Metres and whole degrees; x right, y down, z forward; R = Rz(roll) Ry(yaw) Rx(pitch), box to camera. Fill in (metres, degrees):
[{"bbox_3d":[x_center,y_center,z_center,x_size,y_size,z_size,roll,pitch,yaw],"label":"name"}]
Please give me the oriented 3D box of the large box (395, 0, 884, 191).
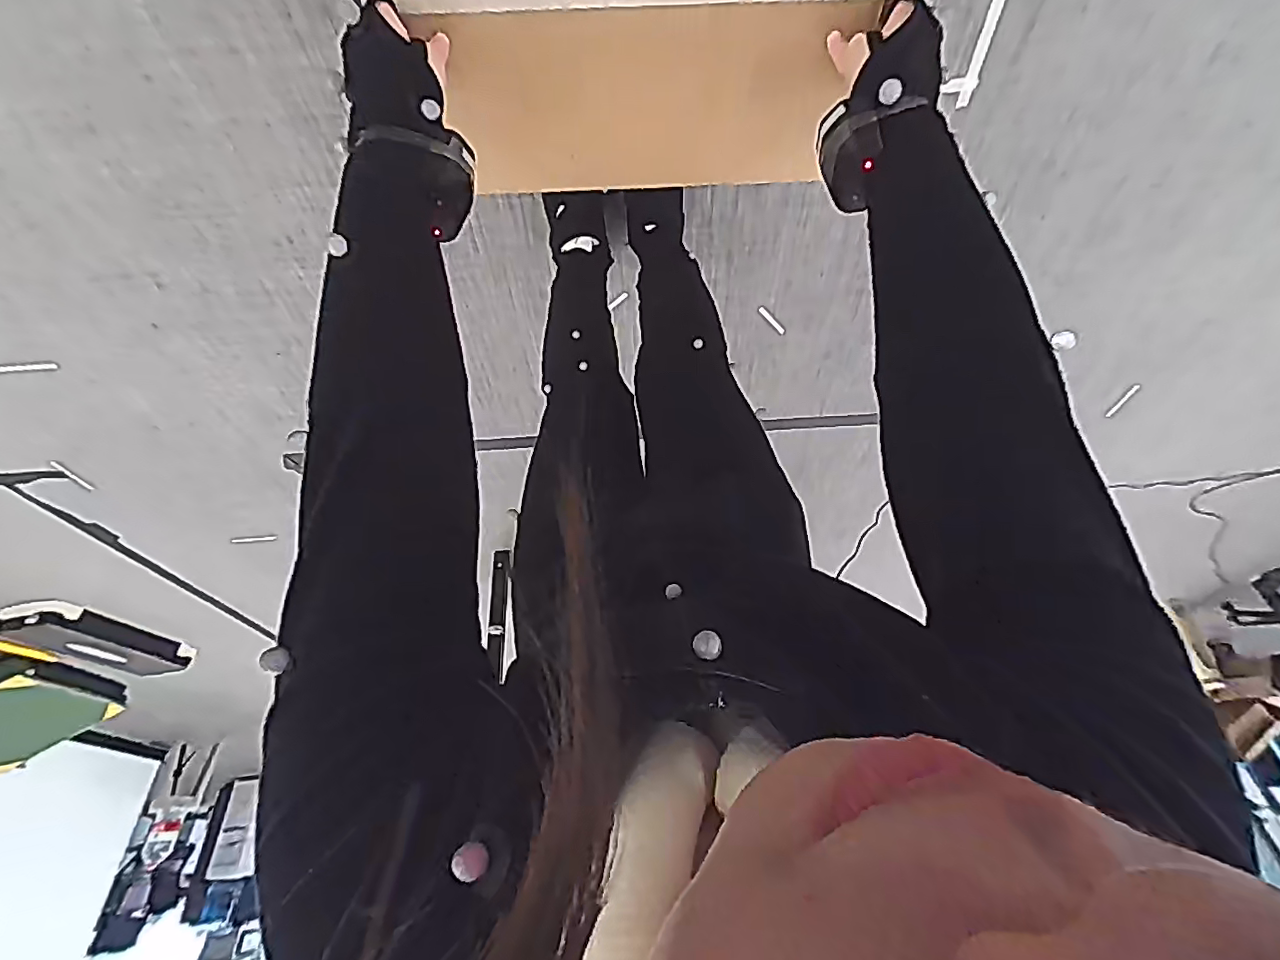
[{"bbox_3d":[-0.003,-0.513,0.511,0.408,0.320,0.320,-3,143,-1],"label":"large box"}]
